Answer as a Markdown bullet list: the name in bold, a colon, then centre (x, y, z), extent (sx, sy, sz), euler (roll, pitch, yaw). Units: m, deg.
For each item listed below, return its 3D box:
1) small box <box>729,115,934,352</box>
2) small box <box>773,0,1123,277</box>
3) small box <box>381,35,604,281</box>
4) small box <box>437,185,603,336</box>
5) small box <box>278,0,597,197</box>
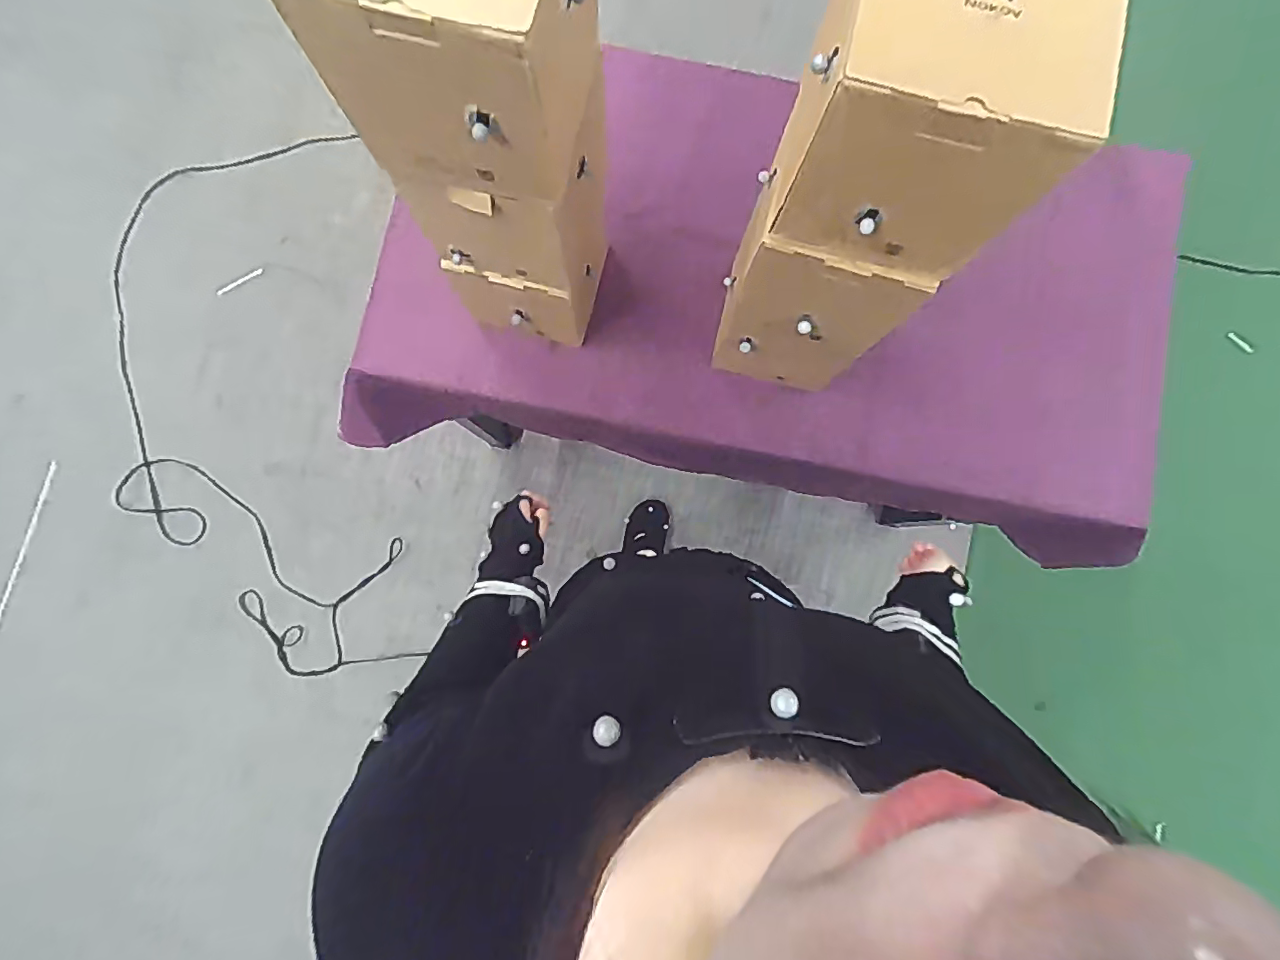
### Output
- **small box**: centre (0.205, -0.263, 0.579), extent (0.168, 0.176, 0.179), euler (17, 84, 0)
- **small box**: centre (0.216, -0.291, 0.418), extent (0.168, 0.176, 0.179), euler (14, 84, -1)
- **small box**: centre (-0.136, -0.341, 0.573), extent (0.168, 0.176, 0.179), euler (15, 83, -1)
- **small box**: centre (-0.148, -0.317, 0.736), extent (0.168, 0.176, 0.179), euler (15, 84, -2)
- **small box**: centre (-0.130, -0.354, 0.410), extent (0.168, 0.176, 0.179), euler (13, 83, -2)
